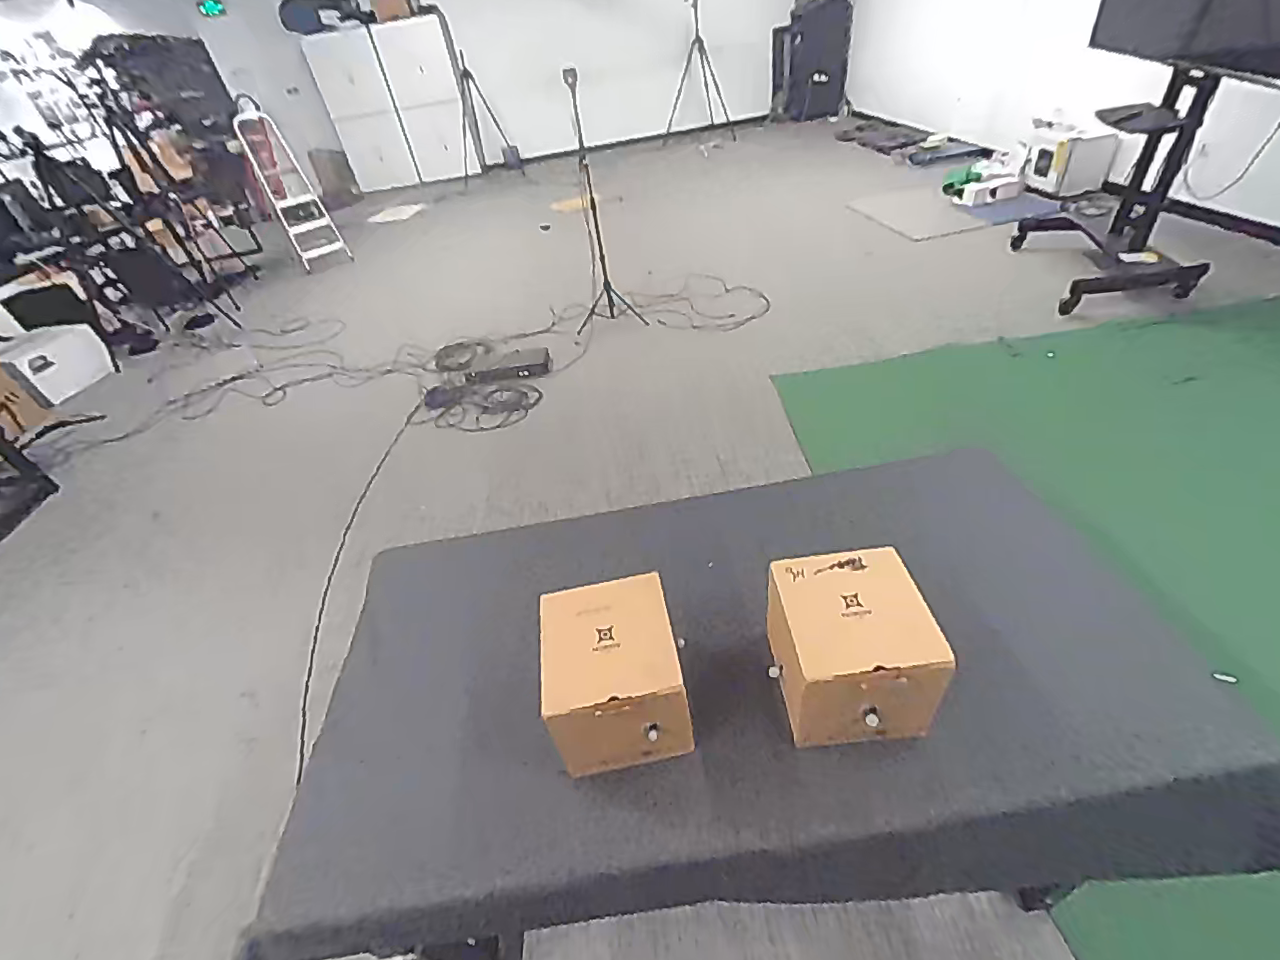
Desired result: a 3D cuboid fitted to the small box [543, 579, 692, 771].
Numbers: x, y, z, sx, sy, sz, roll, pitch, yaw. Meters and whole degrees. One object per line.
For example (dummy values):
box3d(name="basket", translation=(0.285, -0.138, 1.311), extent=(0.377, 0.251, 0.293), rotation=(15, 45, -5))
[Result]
box3d(name="small box", translation=(-0.030, 0.267, 0.730), extent=(0.168, 0.176, 0.179), rotation=(-11, 38, -3))

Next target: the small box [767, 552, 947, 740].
box3d(name="small box", translation=(0.268, 0.223, 0.711), extent=(0.168, 0.176, 0.179), rotation=(-8, 40, 3))
